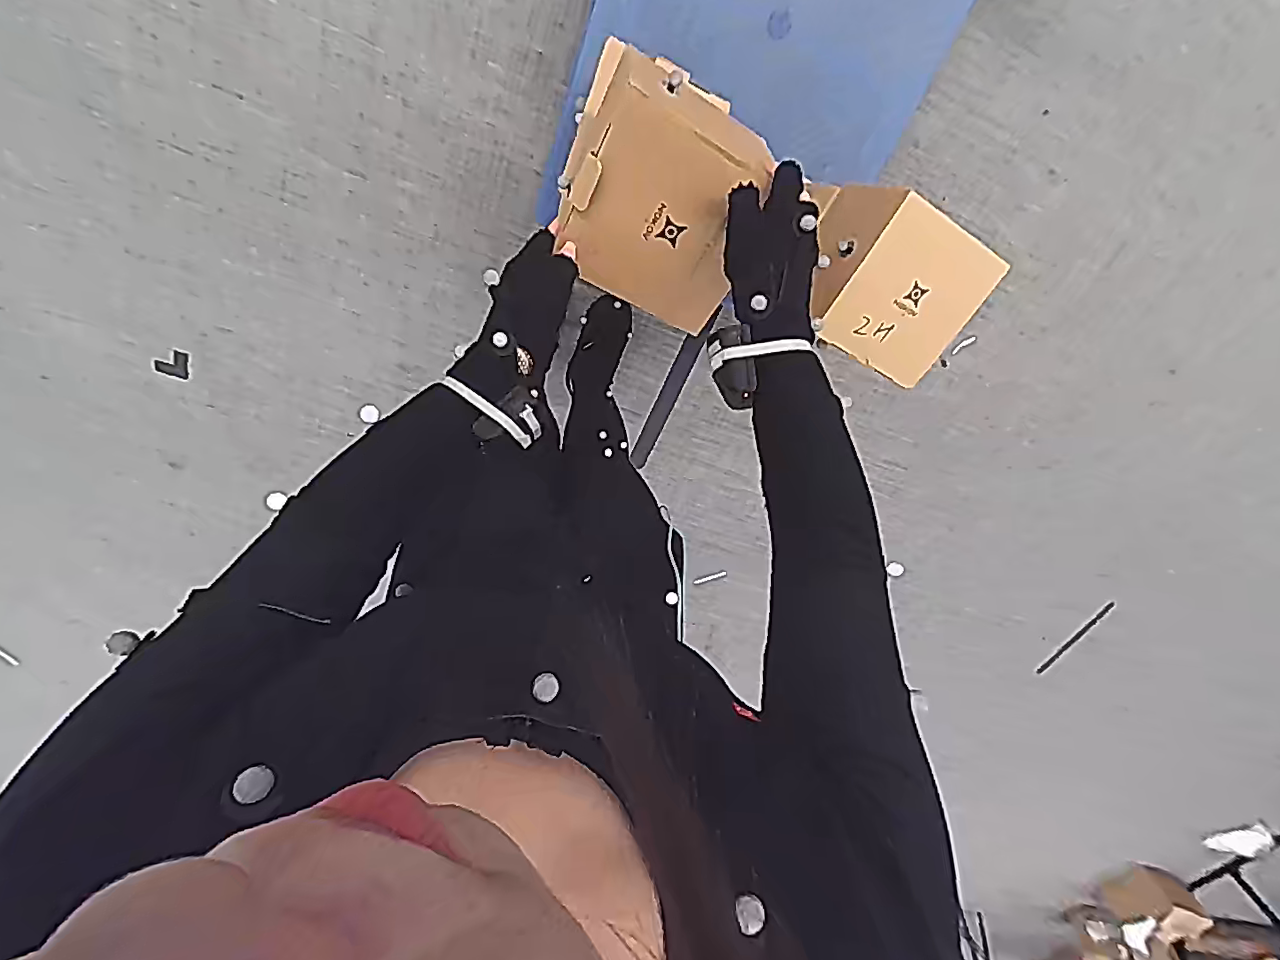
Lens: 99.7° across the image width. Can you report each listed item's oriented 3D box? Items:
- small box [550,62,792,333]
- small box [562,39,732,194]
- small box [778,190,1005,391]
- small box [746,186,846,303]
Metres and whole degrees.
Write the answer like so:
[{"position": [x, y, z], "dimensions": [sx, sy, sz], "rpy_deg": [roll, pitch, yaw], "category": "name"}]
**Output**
[{"position": [0.023, -0.293, 0.563], "dimensions": [0.179, 0.176, 0.168], "rpy_deg": [20, 133, -22], "category": "small box"}, {"position": [-0.002, -0.451, 0.745], "dimensions": [0.168, 0.176, 0.179], "rpy_deg": [19, 117, -16], "category": "small box"}, {"position": [0.307, -0.252, 0.704], "dimensions": [0.168, 0.176, 0.179], "rpy_deg": [24, 116, -19], "category": "small box"}, {"position": [0.292, -0.336, 0.846], "dimensions": [0.179, 0.176, 0.168], "rpy_deg": [22, 117, -19], "category": "small box"}]
